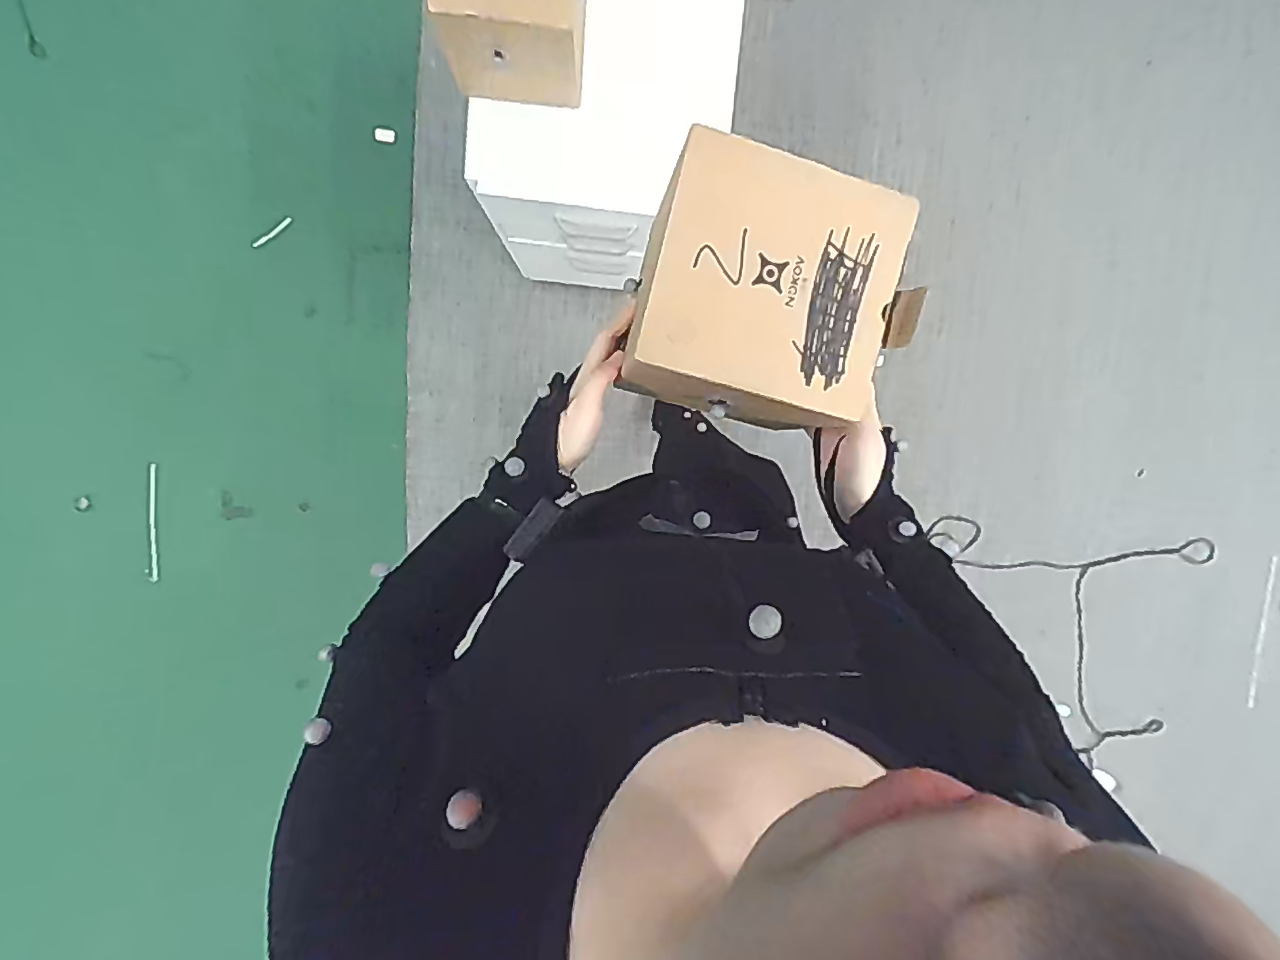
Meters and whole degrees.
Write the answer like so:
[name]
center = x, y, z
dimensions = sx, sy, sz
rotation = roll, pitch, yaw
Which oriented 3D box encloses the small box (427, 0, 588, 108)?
[small box]
center = -0.164, -0.629, 0.715
dimensions = 0.179, 0.176, 0.168
rotation = 4, 96, -4
